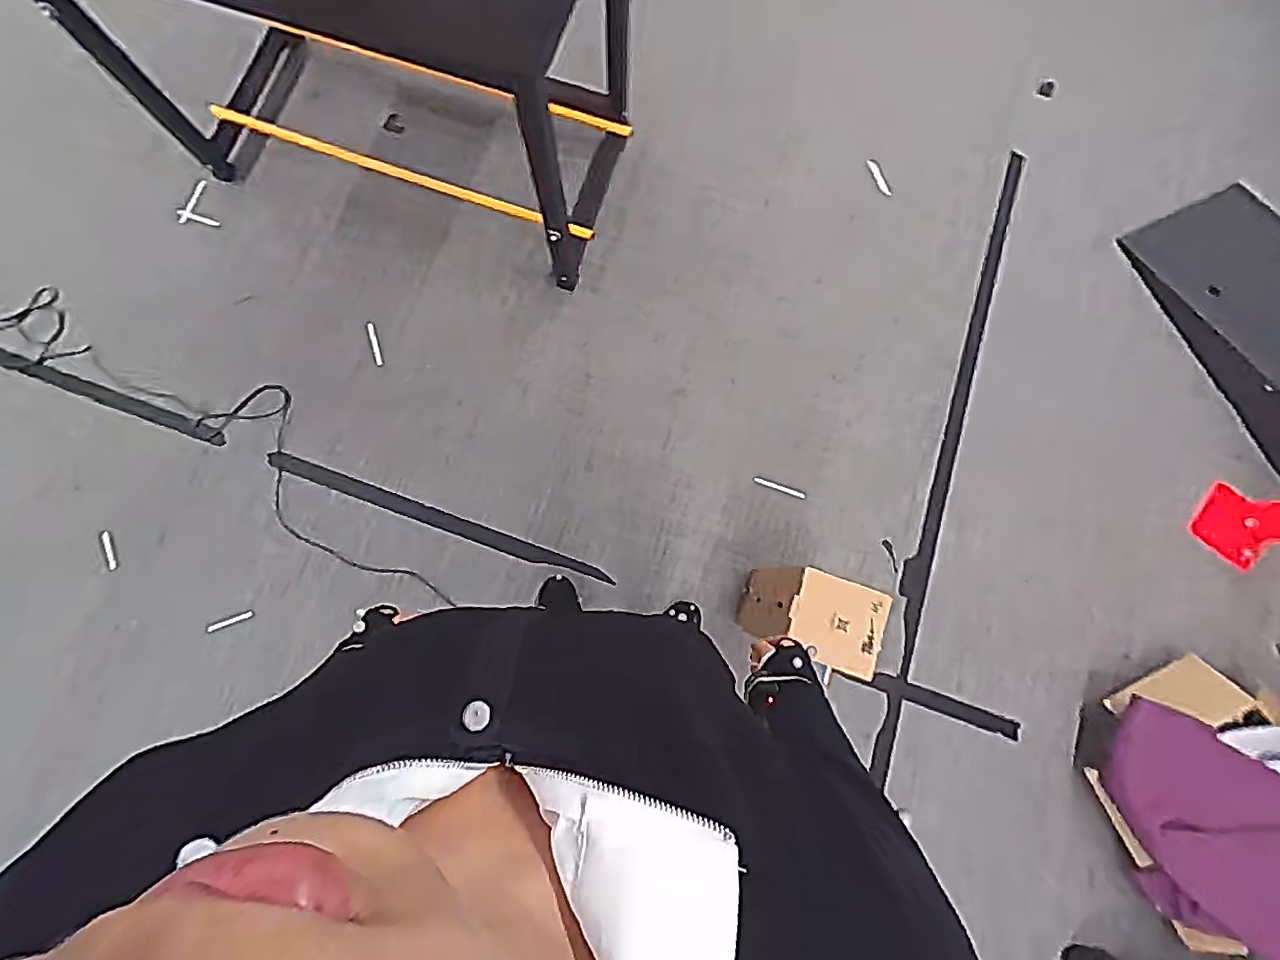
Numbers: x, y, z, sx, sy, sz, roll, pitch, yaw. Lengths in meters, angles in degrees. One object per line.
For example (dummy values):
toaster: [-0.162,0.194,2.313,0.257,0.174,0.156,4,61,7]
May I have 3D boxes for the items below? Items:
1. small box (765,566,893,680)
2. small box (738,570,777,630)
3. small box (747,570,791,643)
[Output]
small box: [0.371,0.284,1.095,0.179,0.176,0.168,20,79,3]
small box: [0.375,0.341,1.419,0.179,0.176,0.168,19,79,3]
small box: [0.369,0.315,1.256,0.179,0.176,0.168,20,79,2]
